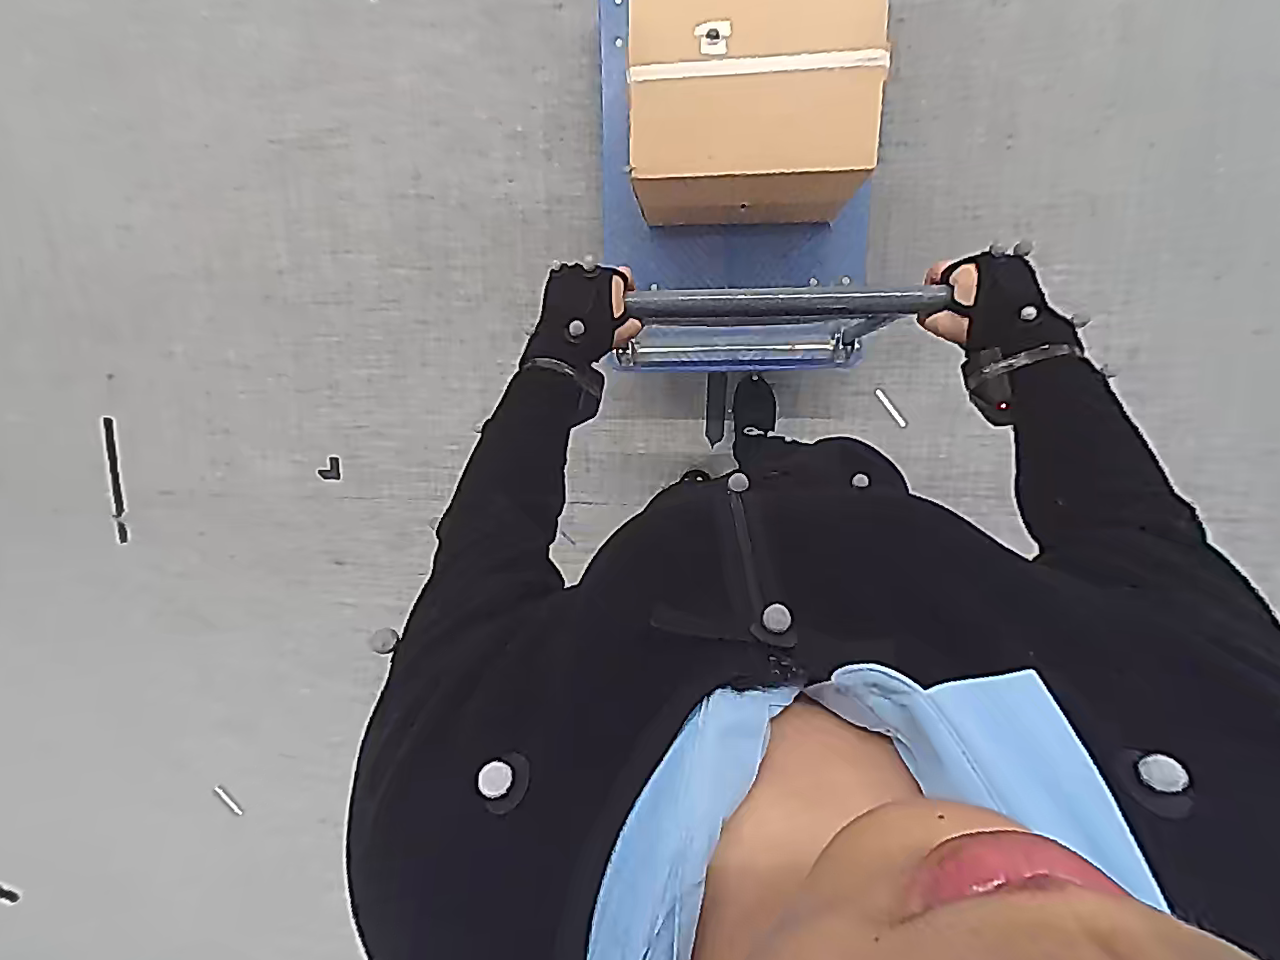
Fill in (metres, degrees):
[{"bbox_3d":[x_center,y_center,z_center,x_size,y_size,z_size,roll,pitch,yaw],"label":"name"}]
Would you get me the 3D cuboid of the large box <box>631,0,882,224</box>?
[{"bbox_3d":[0.205,-0.696,1.027,0.408,0.320,0.320,1,100,7],"label":"large box"}]
